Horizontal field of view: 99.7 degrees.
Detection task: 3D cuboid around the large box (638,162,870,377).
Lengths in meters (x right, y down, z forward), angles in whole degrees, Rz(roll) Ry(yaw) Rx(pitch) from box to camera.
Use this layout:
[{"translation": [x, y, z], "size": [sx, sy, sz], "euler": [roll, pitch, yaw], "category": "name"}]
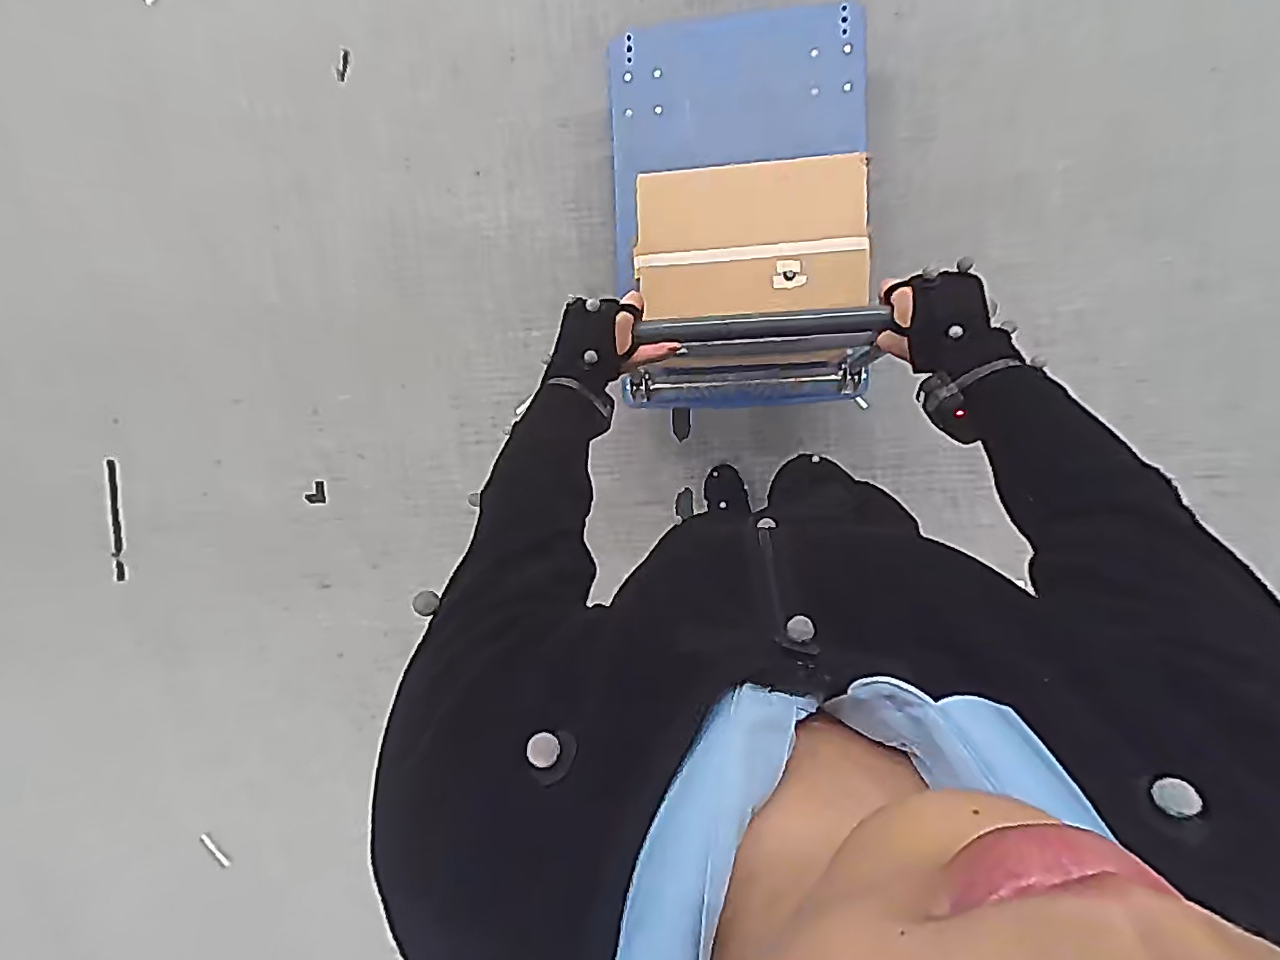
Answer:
[{"translation": [0.215, -0.396, 1.107], "size": [0.408, 0.320, 0.320], "euler": [-1, 94, 7], "category": "large box"}]
